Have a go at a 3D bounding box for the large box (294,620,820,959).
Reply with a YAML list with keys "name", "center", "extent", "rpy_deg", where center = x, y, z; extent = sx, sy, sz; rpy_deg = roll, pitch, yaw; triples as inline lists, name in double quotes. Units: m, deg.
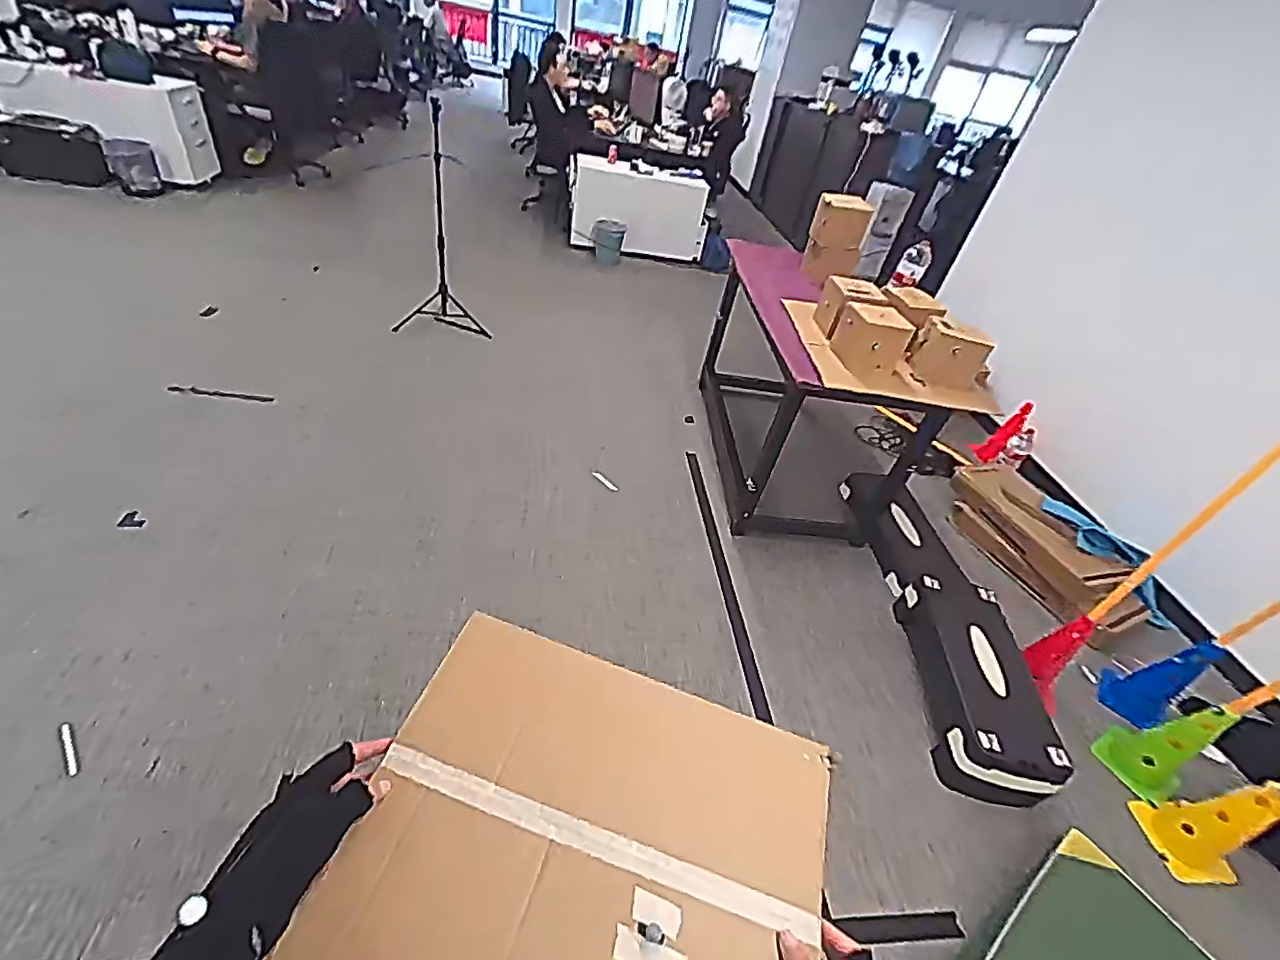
- name: "large box"
  center: [-0.062, 0.420, 0.602]
  extent: [0.408, 0.320, 0.320]
  rpy_deg: [20, 48, 5]
